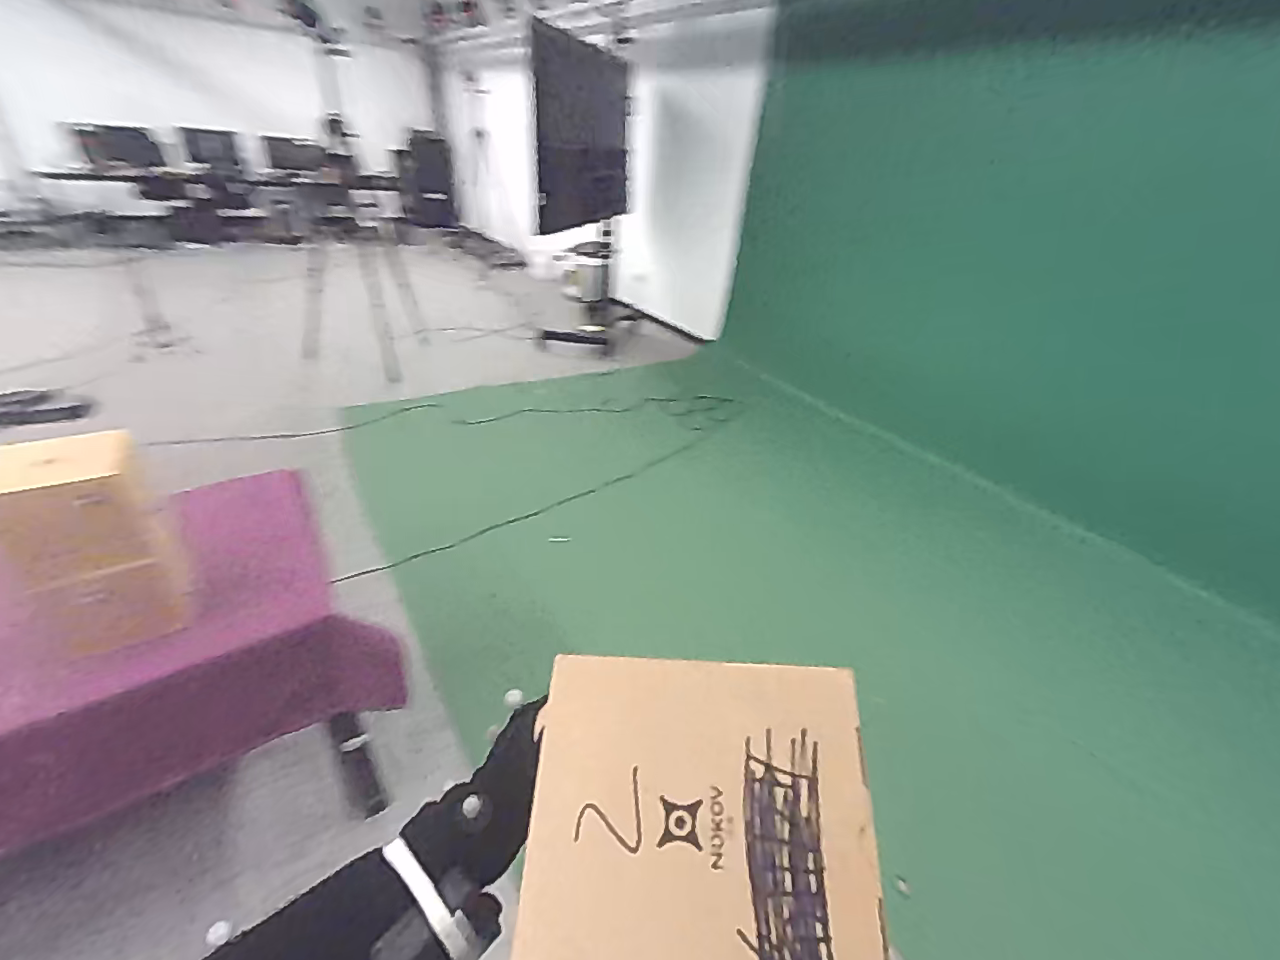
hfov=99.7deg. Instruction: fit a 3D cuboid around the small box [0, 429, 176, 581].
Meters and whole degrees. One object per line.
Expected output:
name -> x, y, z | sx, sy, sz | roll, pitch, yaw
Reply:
small box -> -0.907, 0.038, 0.885 | 0.179, 0.176, 0.168 | -15, 38, -29
